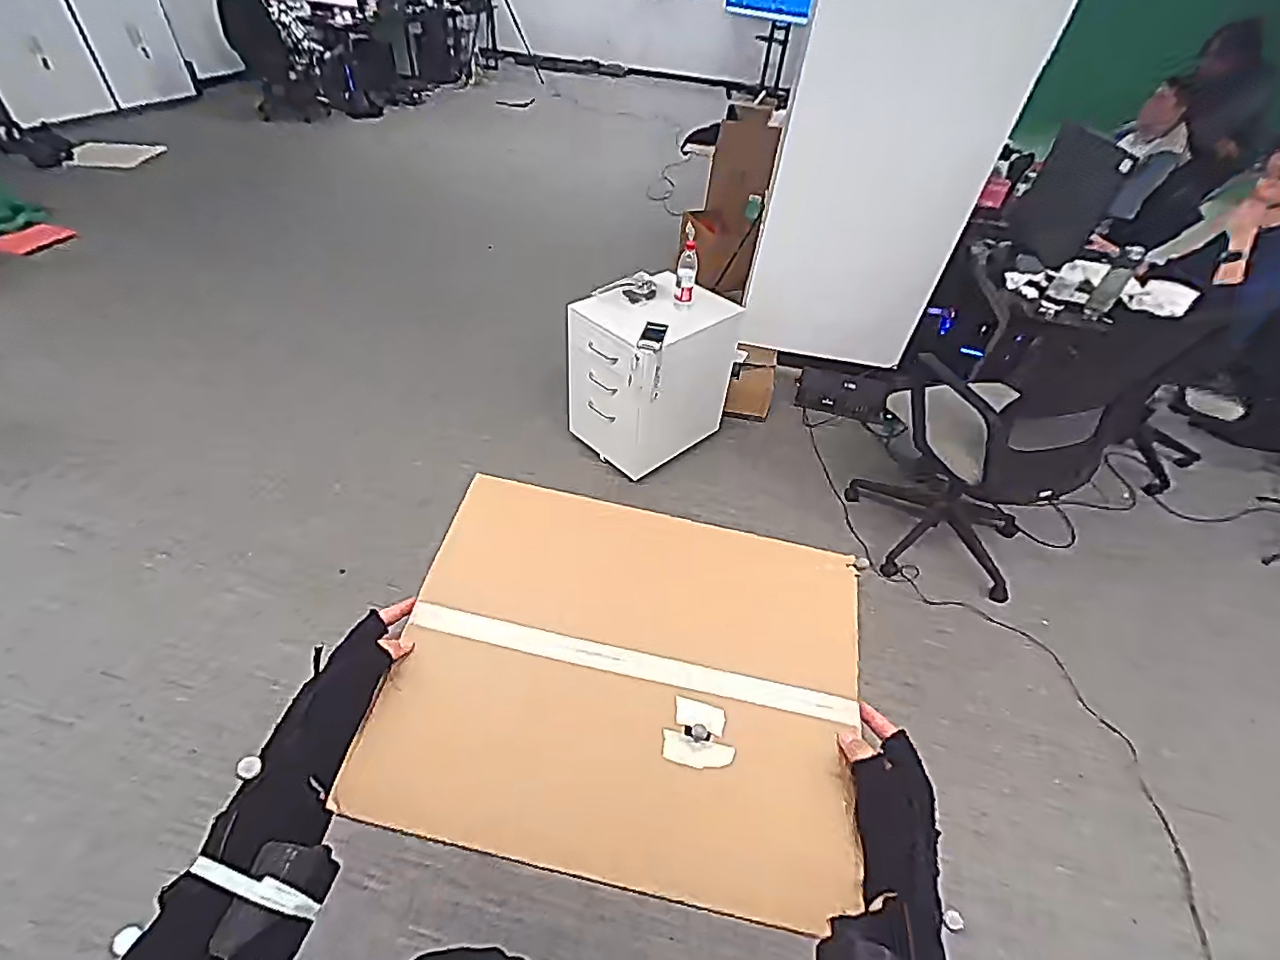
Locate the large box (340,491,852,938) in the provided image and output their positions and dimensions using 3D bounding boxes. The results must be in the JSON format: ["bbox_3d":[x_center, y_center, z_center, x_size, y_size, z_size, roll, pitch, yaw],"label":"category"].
[{"bbox_3d":[-0.024,0.255,0.609,0.408,0.320,0.320,13,57,2],"label":"large box"}]
